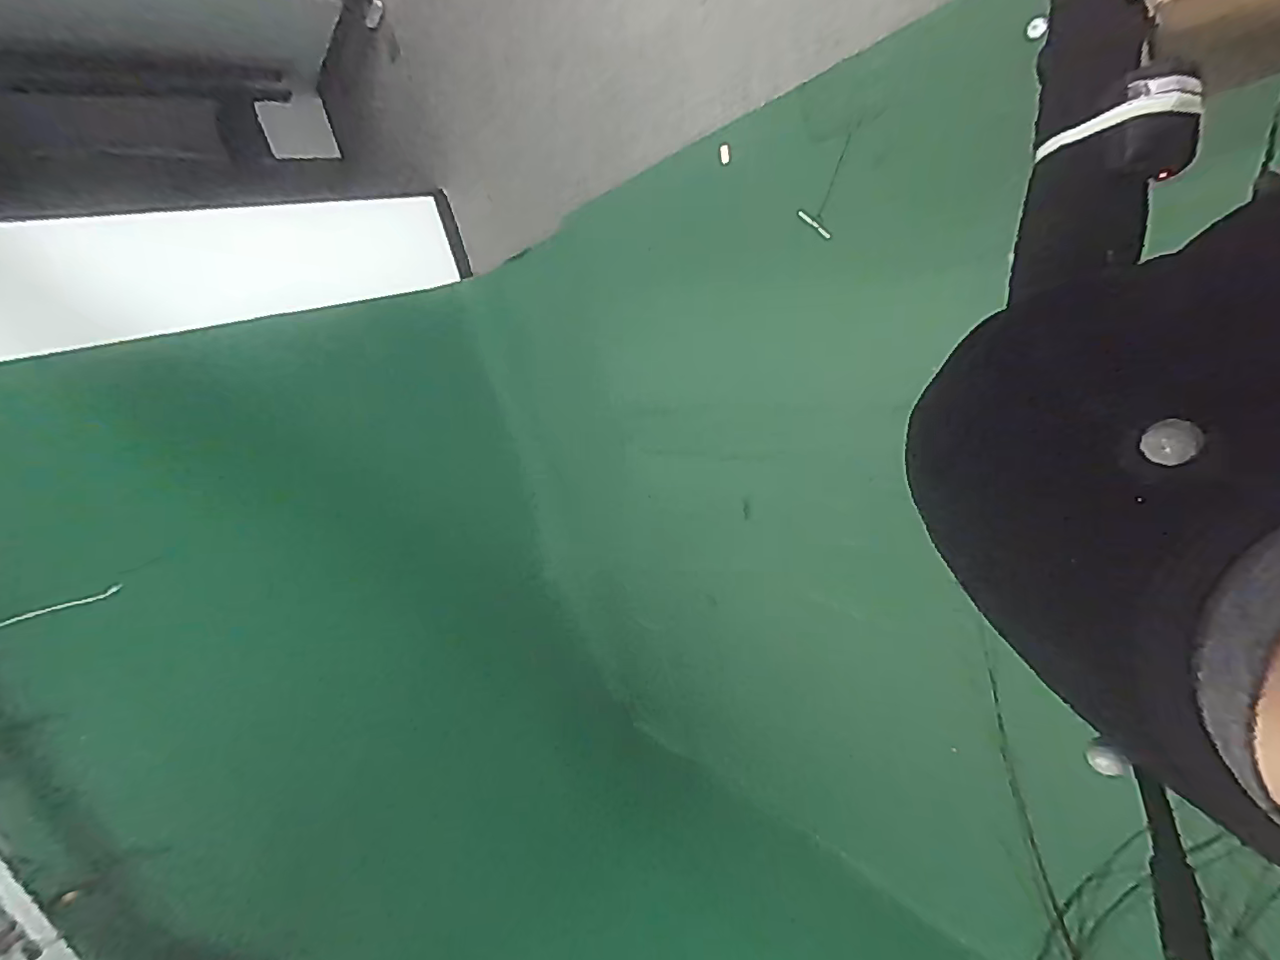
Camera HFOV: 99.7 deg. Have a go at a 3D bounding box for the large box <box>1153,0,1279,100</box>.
[{"bbox_3d":[0.553,-0.480,0.279,0.408,0.320,0.320,4,107,44],"label":"large box"}]
